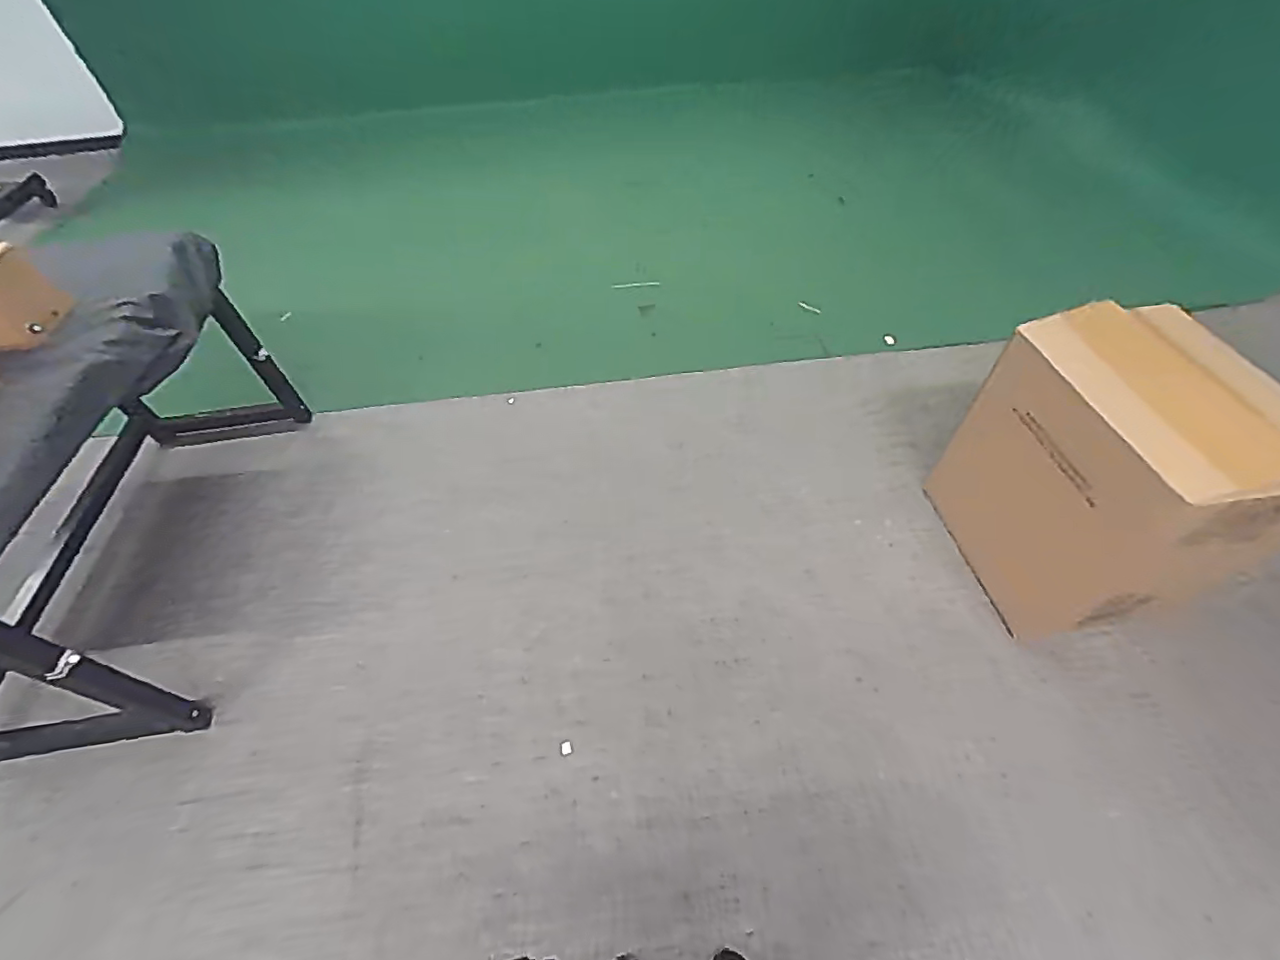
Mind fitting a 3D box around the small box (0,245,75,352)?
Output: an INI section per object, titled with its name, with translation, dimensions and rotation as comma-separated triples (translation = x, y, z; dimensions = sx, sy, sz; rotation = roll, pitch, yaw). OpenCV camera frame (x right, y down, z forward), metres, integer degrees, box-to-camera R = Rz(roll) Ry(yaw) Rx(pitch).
[small box]
translation = -1.461, -0.401, 1.216
dimensions = 0.179, 0.176, 0.168
rotation = -7, 52, -1
